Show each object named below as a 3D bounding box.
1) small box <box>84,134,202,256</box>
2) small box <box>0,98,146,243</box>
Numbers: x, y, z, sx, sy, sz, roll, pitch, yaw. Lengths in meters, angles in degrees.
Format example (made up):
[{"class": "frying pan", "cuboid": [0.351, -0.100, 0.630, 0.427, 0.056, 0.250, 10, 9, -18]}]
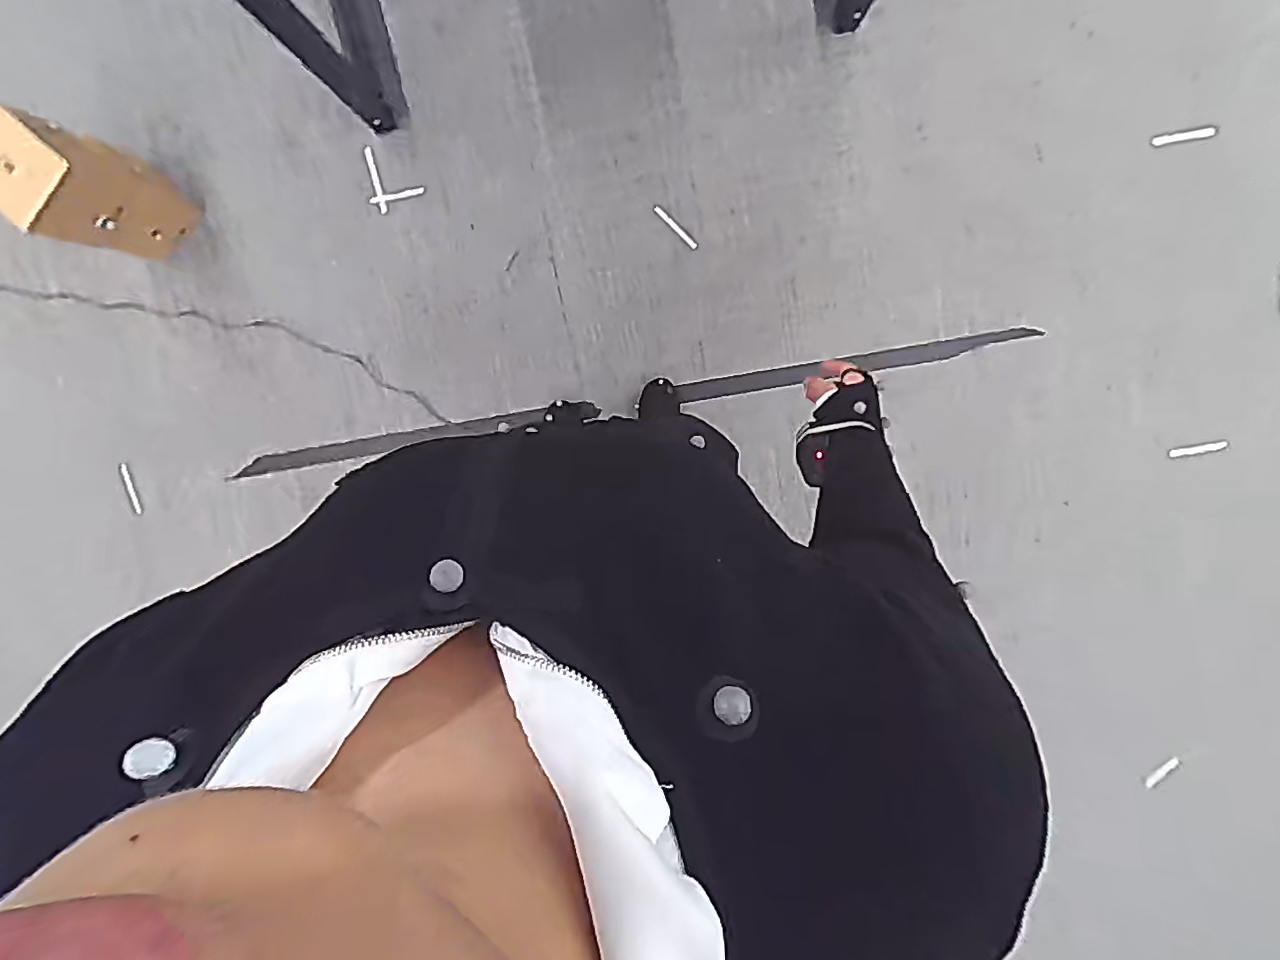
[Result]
[{"class": "small box", "cuboid": [-1.203, -0.655, 1.276, 0.168, 0.176, 0.179, -42, 98, 5]}, {"class": "small box", "cuboid": [-1.203, -0.622, 1.116, 0.179, 0.176, 0.168, 42, 99, -9]}]
